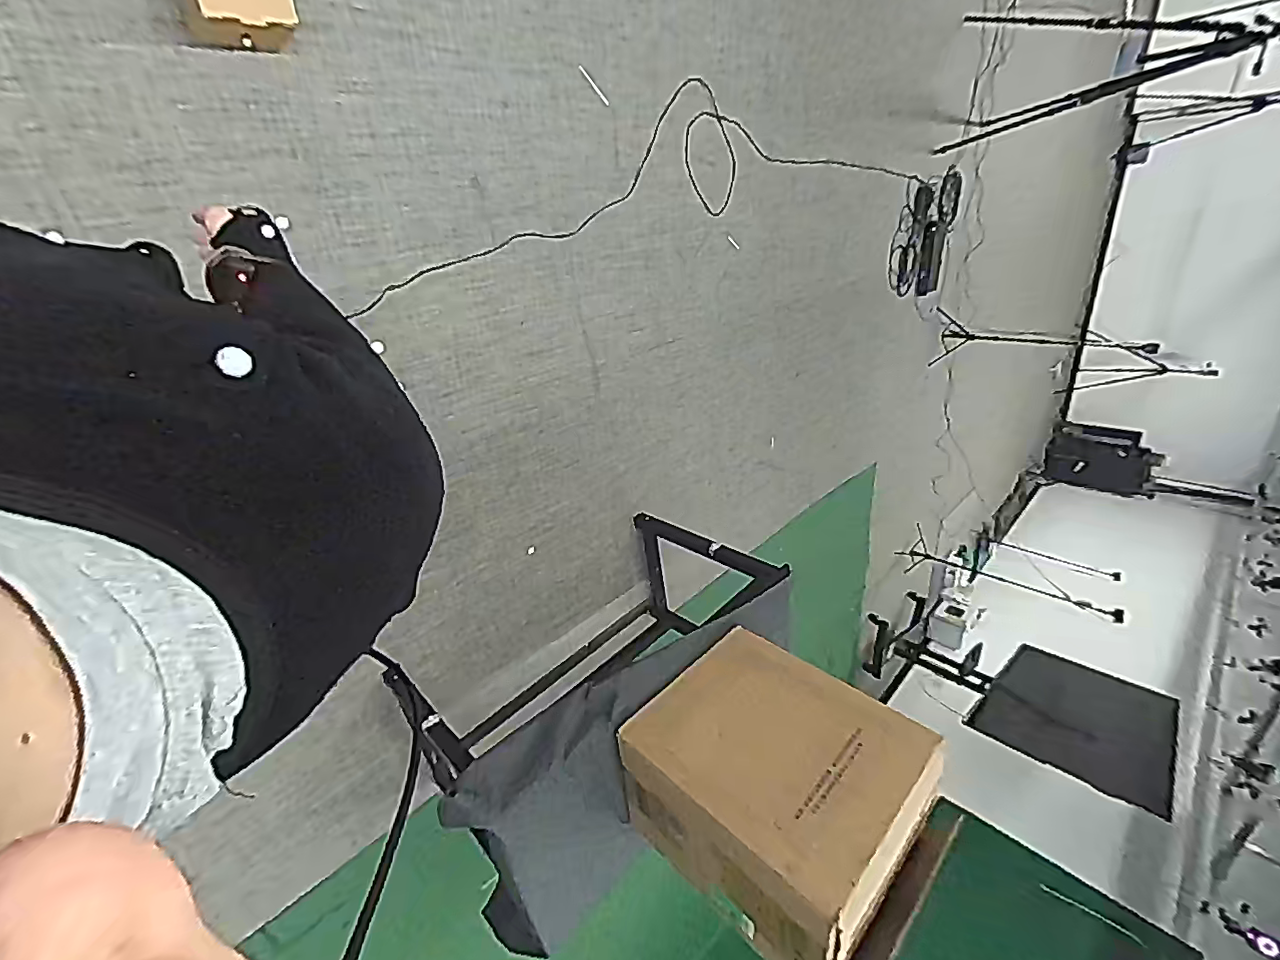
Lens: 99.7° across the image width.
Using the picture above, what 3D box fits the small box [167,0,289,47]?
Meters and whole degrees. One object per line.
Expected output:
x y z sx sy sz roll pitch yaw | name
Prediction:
-0.817 -0.971 1.046 0.168 0.176 0.179 -28 123 -37 | small box
